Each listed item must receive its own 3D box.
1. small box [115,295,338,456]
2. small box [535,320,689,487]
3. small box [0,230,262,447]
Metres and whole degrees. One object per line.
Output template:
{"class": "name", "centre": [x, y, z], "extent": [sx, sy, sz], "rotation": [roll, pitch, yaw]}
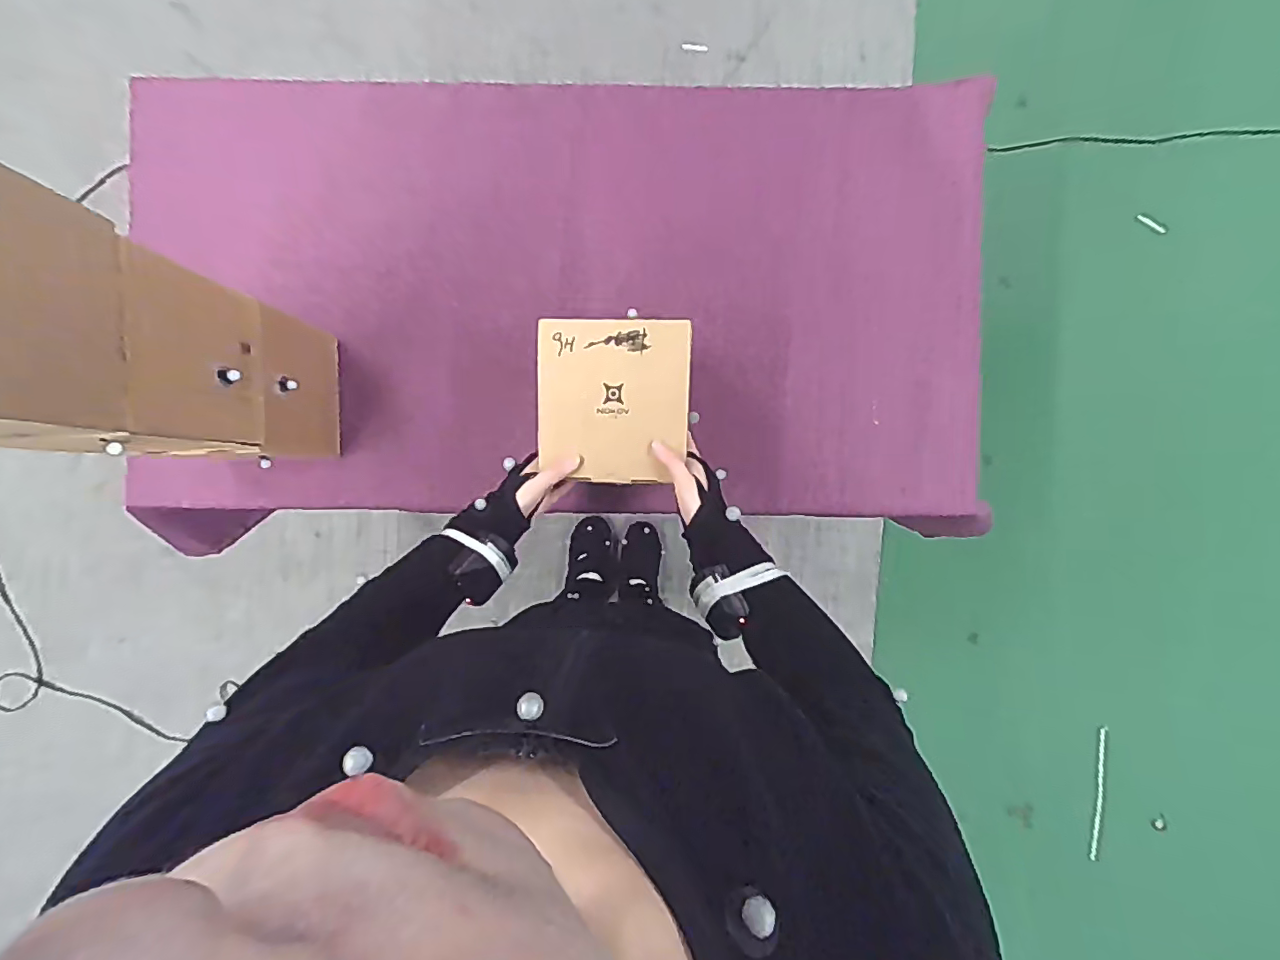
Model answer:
{"class": "small box", "centre": [-0.506, -0.120, 0.682], "extent": [0.168, 0.176, 0.179], "rotation": [0, 90, -2]}
{"class": "small box", "centre": [-0.027, -0.095, 0.664], "extent": [0.168, 0.176, 0.179], "rotation": [3, 99, 4]}
{"class": "small box", "centre": [-0.507, -0.121, 0.519], "extent": [0.179, 0.176, 0.168], "rotation": [-2, 90, -2]}
